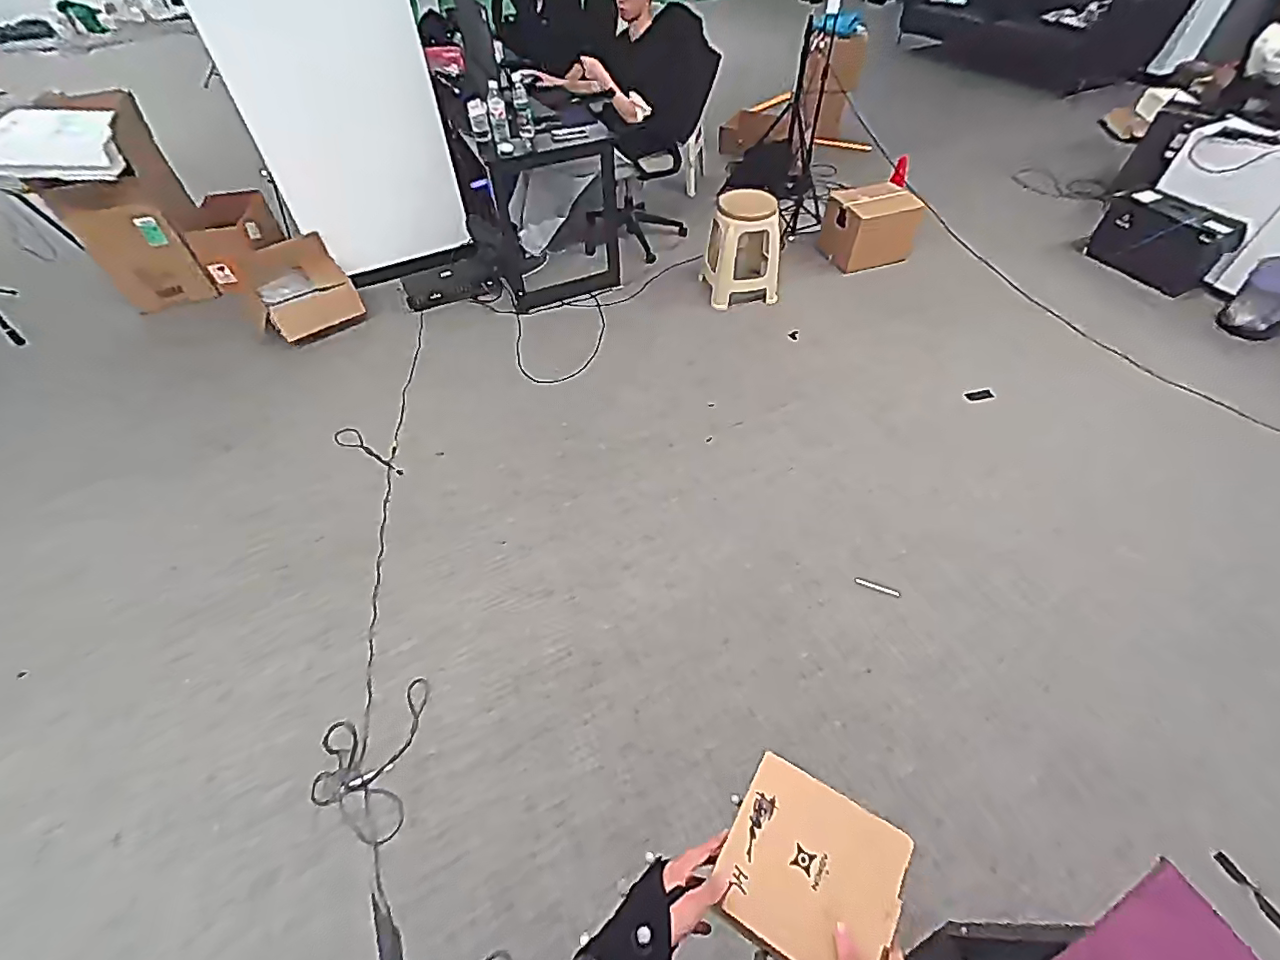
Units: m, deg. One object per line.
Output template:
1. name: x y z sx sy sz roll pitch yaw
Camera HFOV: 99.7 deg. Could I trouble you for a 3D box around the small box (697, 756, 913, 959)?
1. small box: 0.181 0.463 0.632 0.179 0.176 0.168 25 56 22
